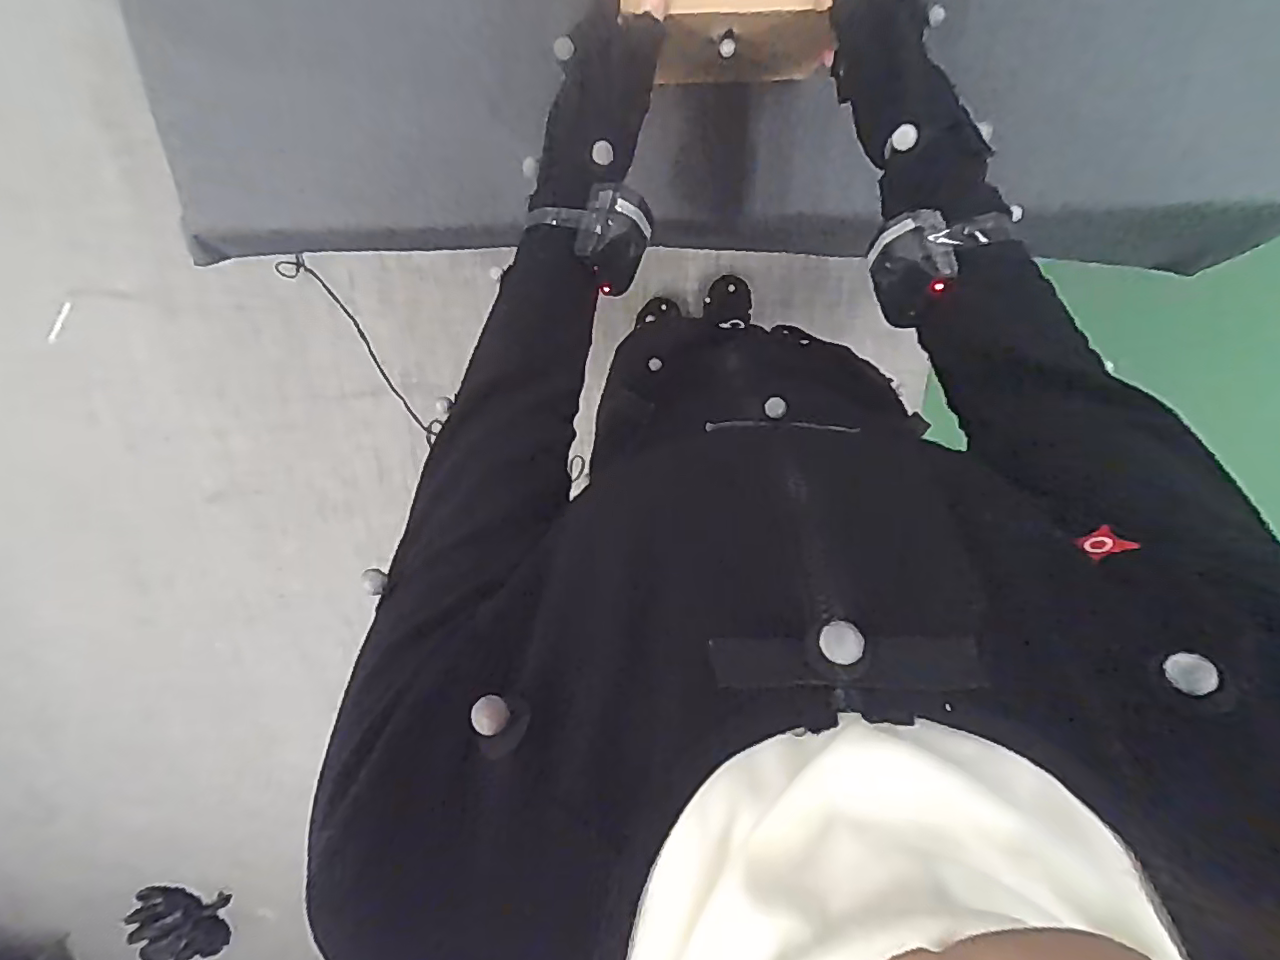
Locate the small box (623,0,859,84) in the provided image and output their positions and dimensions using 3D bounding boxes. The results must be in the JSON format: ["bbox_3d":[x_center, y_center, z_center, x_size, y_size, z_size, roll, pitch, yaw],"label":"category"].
[{"bbox_3d":[0.077,-0.449,0.445,0.179,0.176,0.168,-1,112,2],"label":"small box"}]
